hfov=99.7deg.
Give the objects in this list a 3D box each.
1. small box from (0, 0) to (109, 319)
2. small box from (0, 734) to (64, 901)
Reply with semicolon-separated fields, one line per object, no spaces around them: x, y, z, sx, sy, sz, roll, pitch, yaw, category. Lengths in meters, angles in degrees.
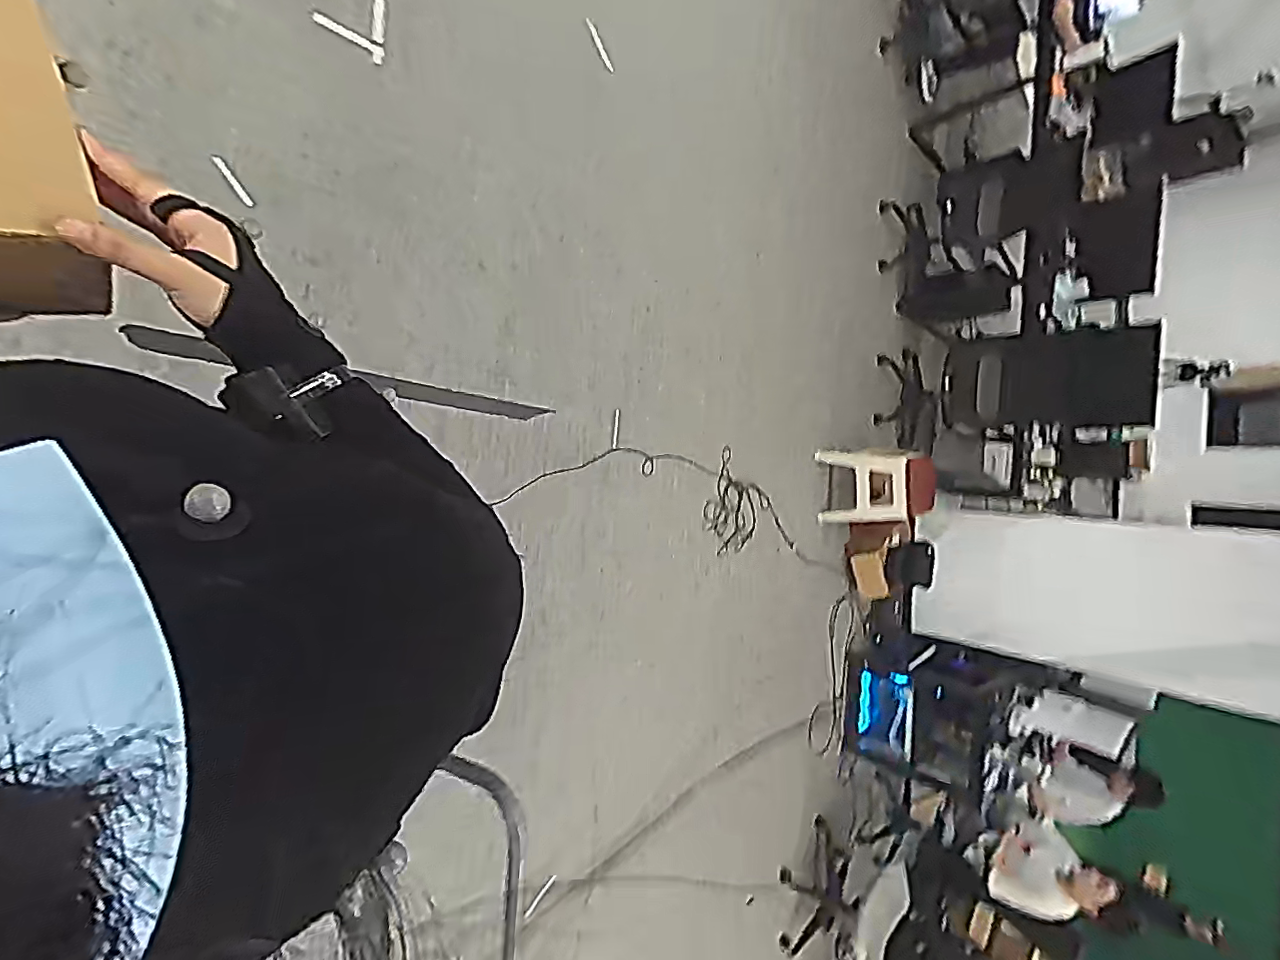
-0.465;-0.213;0.335;0.168;0.176;0.179;-16;97;-44;small box
-1.003;0.519;0.818;0.168;0.176;0.179;4;89;-42;small box
